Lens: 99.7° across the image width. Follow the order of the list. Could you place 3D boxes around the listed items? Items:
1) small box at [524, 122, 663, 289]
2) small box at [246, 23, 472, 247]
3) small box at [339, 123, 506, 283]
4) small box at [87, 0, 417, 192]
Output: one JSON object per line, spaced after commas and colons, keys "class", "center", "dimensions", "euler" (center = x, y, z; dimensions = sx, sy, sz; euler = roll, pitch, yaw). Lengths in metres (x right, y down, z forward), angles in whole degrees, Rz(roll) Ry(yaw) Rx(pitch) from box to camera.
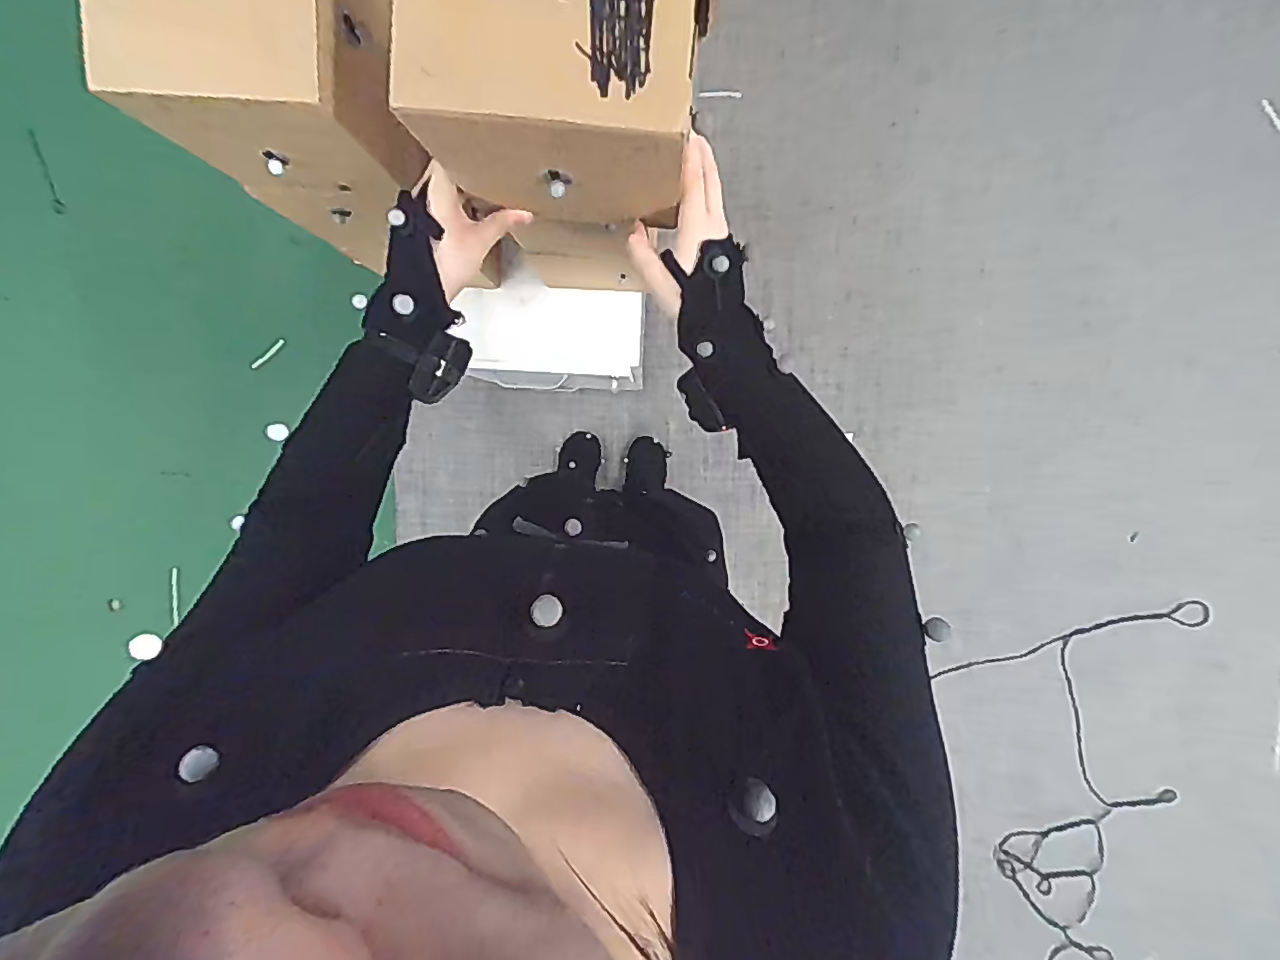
{"class": "small box", "center": [-0.059, -0.382, 0.780], "dimensions": [0.179, 0.176, 0.168], "euler": [3, 95, 3]}
{"class": "small box", "center": [-0.305, -0.379, 0.616], "dimensions": [0.179, 0.176, 0.168], "euler": [3, 96, -1]}
{"class": "small box", "center": [-0.305, -0.392, 0.781], "dimensions": [0.179, 0.176, 0.168], "euler": [3, 97, -1]}
{"class": "small box", "center": [-0.299, -0.365, 0.453], "dimensions": [0.168, 0.176, 0.179], "euler": [3, 96, -2]}
